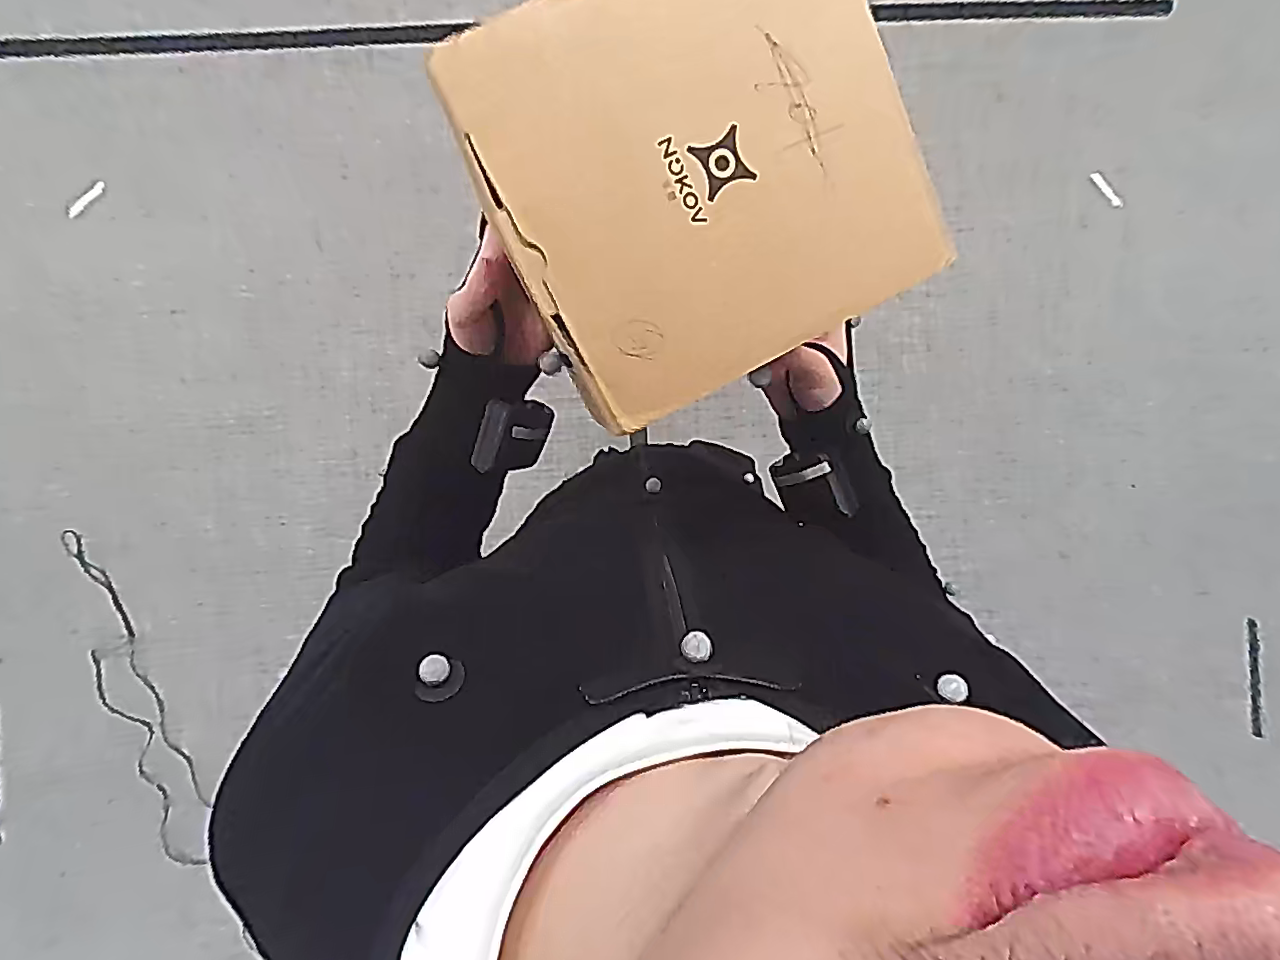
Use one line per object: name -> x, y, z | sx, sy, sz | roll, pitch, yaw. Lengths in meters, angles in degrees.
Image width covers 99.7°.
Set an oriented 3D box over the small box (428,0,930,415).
small box -> 0.015, -0.149, 0.315 | 0.179, 0.176, 0.168 | -30, 102, -3
